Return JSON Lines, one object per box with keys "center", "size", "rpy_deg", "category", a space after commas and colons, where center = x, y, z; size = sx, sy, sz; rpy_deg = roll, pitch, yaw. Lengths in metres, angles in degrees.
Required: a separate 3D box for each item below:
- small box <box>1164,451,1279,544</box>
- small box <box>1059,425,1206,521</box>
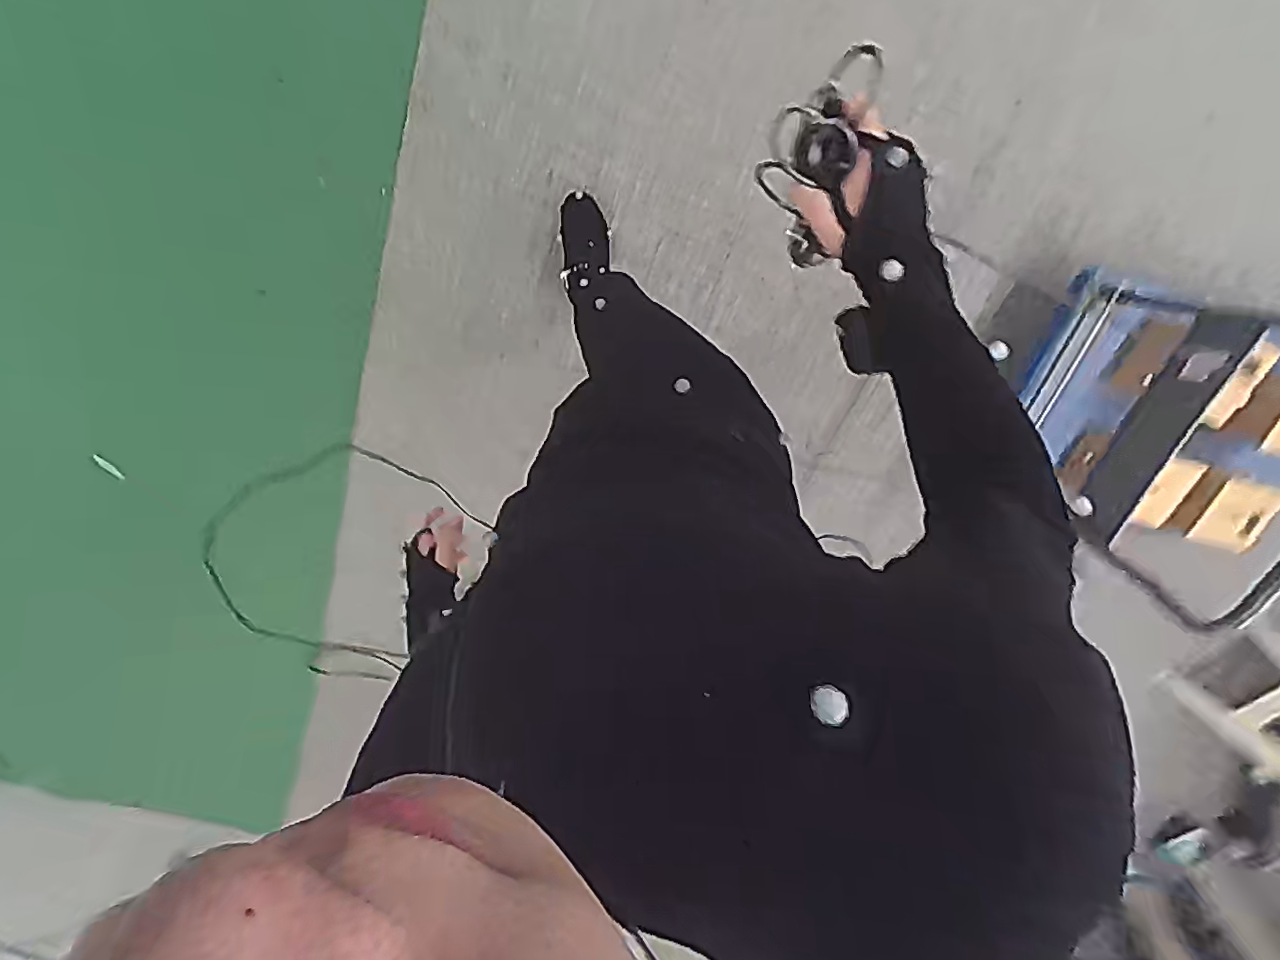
{"center": [1.470, 0.039, 1.396], "size": [0.179, 0.176, 0.168], "rpy_deg": [12, 114, -5], "category": "small box"}
{"center": [1.231, -0.024, 1.367], "size": [0.179, 0.176, 0.168], "rpy_deg": [15, 114, -6], "category": "small box"}
